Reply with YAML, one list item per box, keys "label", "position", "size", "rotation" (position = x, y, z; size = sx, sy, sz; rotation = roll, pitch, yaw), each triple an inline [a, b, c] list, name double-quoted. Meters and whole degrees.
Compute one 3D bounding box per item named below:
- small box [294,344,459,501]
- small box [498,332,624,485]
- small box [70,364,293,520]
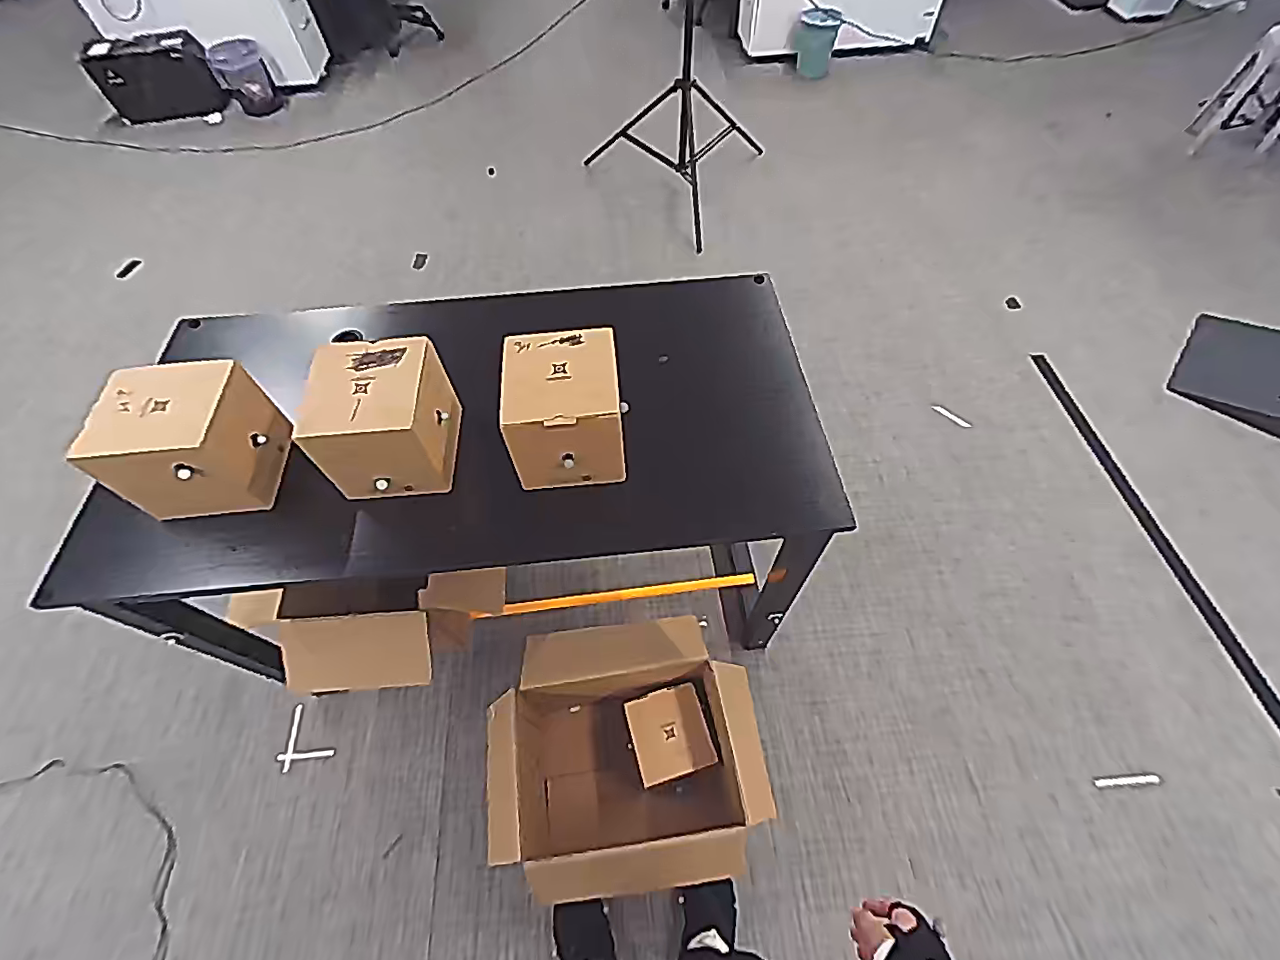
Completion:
- label: "small box"
  position: [-0.391, -0.086, 0.842]
  size: [0.168, 0.176, 0.179]
  rotation: [-5, 58, -1]
- label: "small box"
  position: [-0.116, -0.102, 0.846]
  size: [0.168, 0.176, 0.179]
  rotation: [-5, 58, -1]
- label: "small box"
  position: [-0.674, -0.054, 0.826]
  size: [0.179, 0.176, 0.168]
  rotation: [-6, 57, -3]
